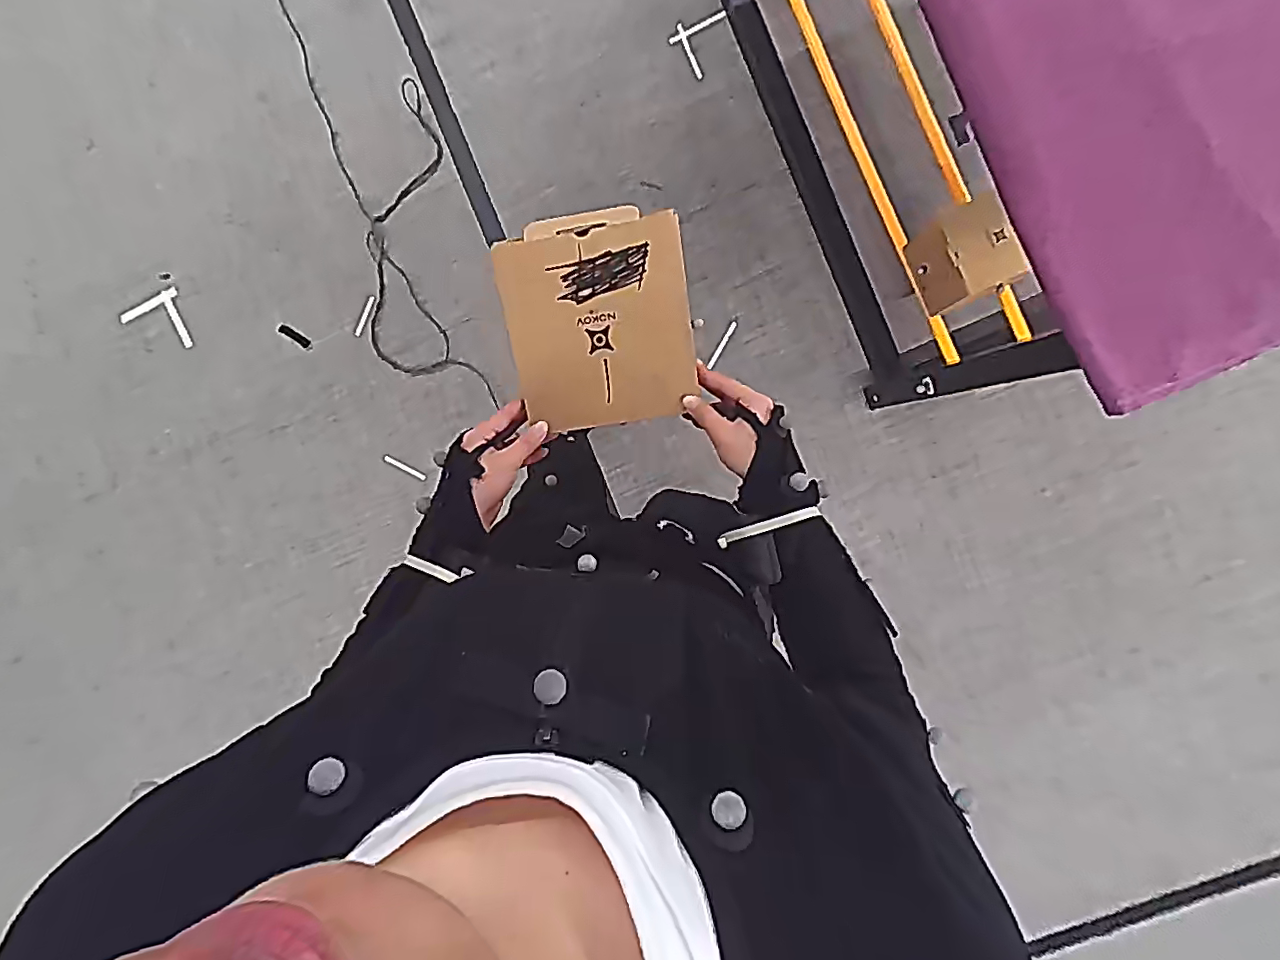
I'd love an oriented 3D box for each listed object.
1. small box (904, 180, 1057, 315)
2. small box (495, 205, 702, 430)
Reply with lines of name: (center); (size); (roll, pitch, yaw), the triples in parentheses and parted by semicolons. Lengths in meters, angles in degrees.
small box: (0.674, -0.457, 1.090); (0.179, 0.176, 0.168); (-23, 91, 6)
small box: (-0.031, -0.159, 0.557); (0.168, 0.176, 0.179); (-8, 105, 5)
